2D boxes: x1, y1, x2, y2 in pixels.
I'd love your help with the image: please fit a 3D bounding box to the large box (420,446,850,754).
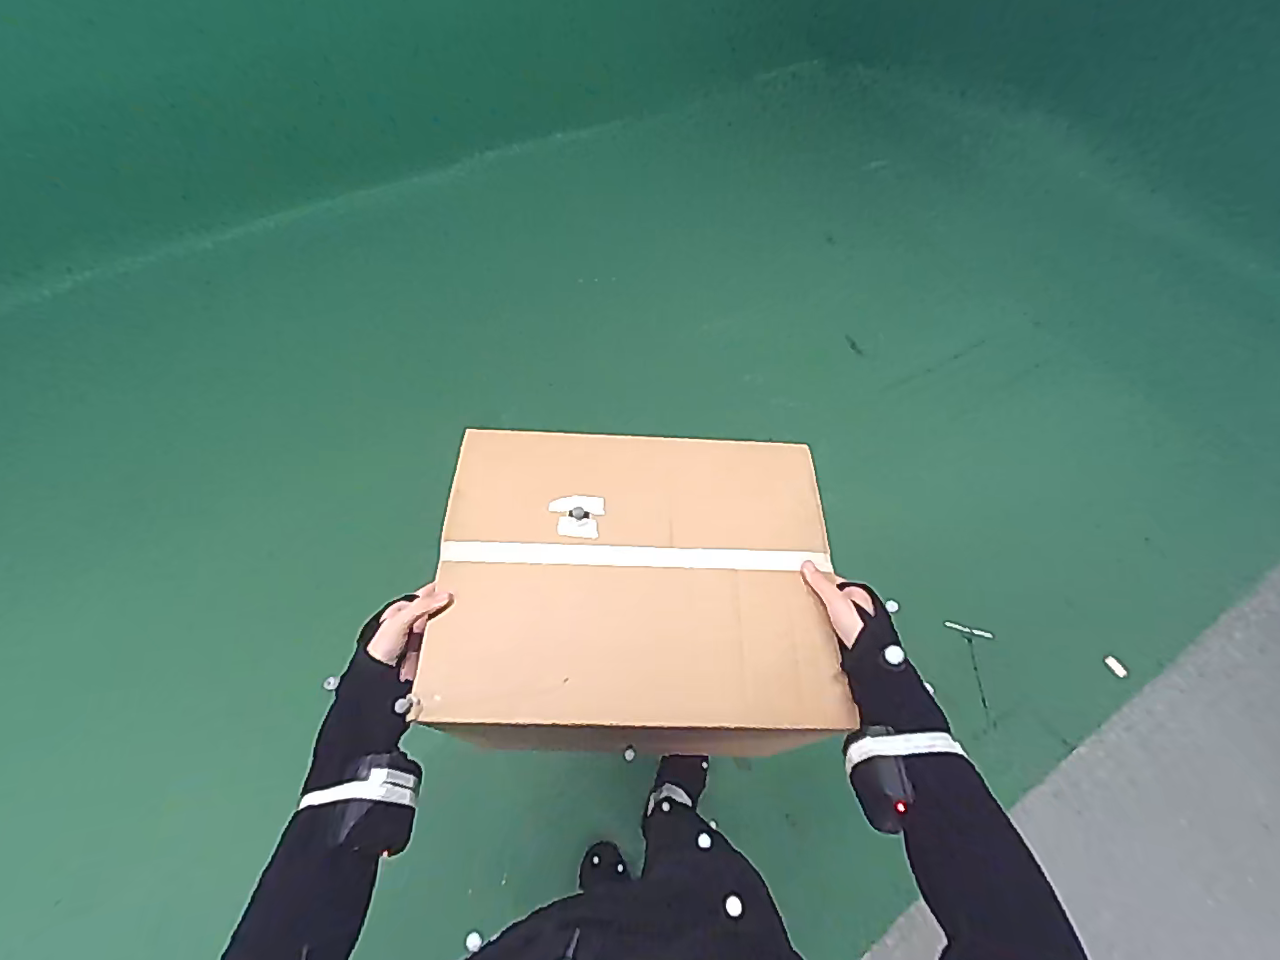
[{"bbox_3d":[-0.005,0.172,0.696,0.408,0.320,0.320,3,58,-2],"label":"large box"}]
